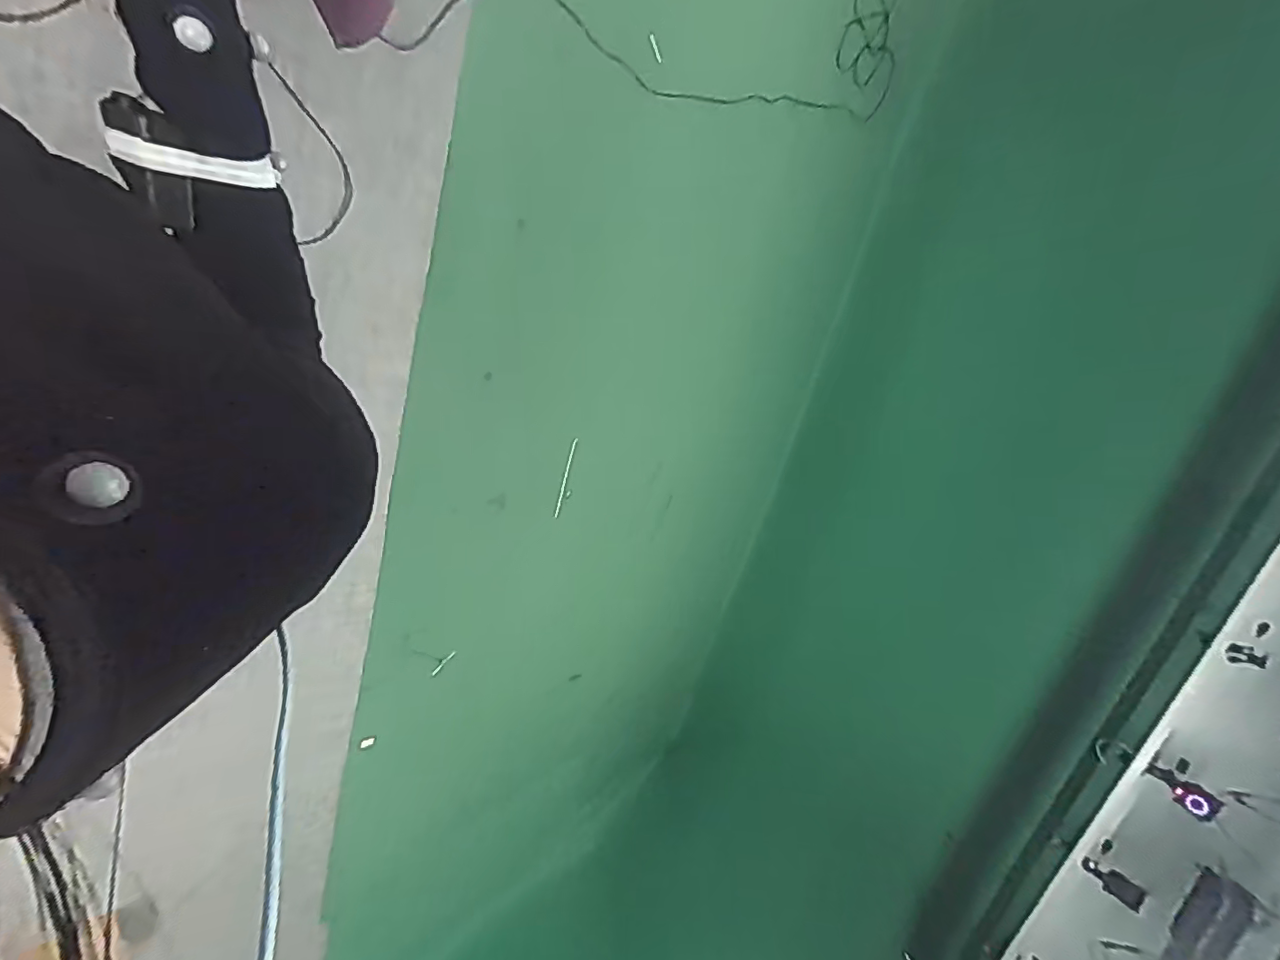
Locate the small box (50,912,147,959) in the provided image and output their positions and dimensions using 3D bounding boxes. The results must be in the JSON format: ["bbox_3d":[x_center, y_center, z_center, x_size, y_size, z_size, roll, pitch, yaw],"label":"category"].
[{"bbox_3d":[-1.488,1.358,1.480,0.179,0.176,0.168,-8,118,-53],"label":"small box"}]
